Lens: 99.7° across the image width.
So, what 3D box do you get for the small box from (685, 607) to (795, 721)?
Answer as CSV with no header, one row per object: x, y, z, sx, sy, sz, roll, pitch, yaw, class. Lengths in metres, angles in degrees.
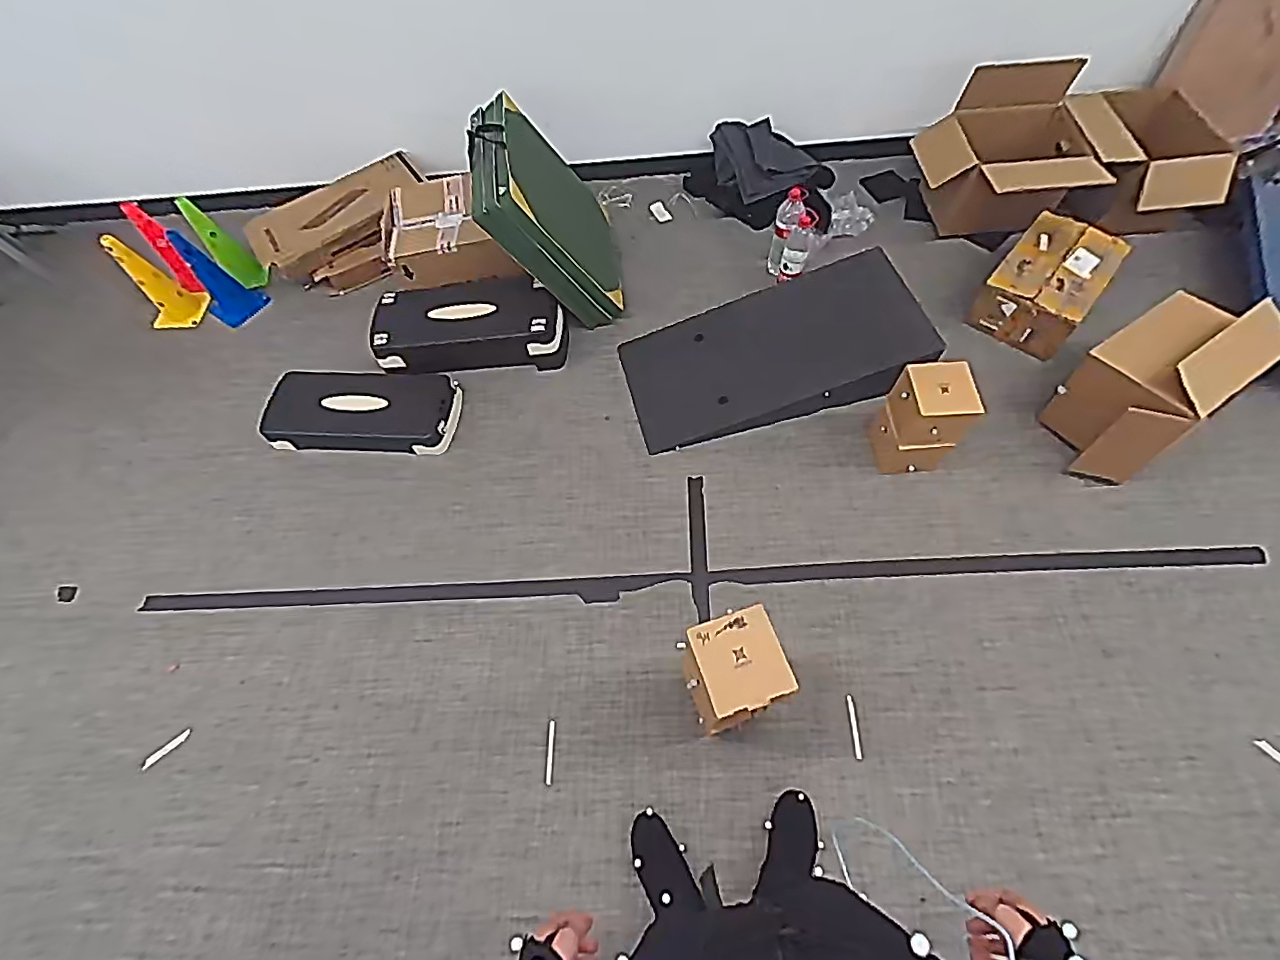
0.198,0.385,1.117,0.168,0.176,0.179,-17,64,-5,small box
